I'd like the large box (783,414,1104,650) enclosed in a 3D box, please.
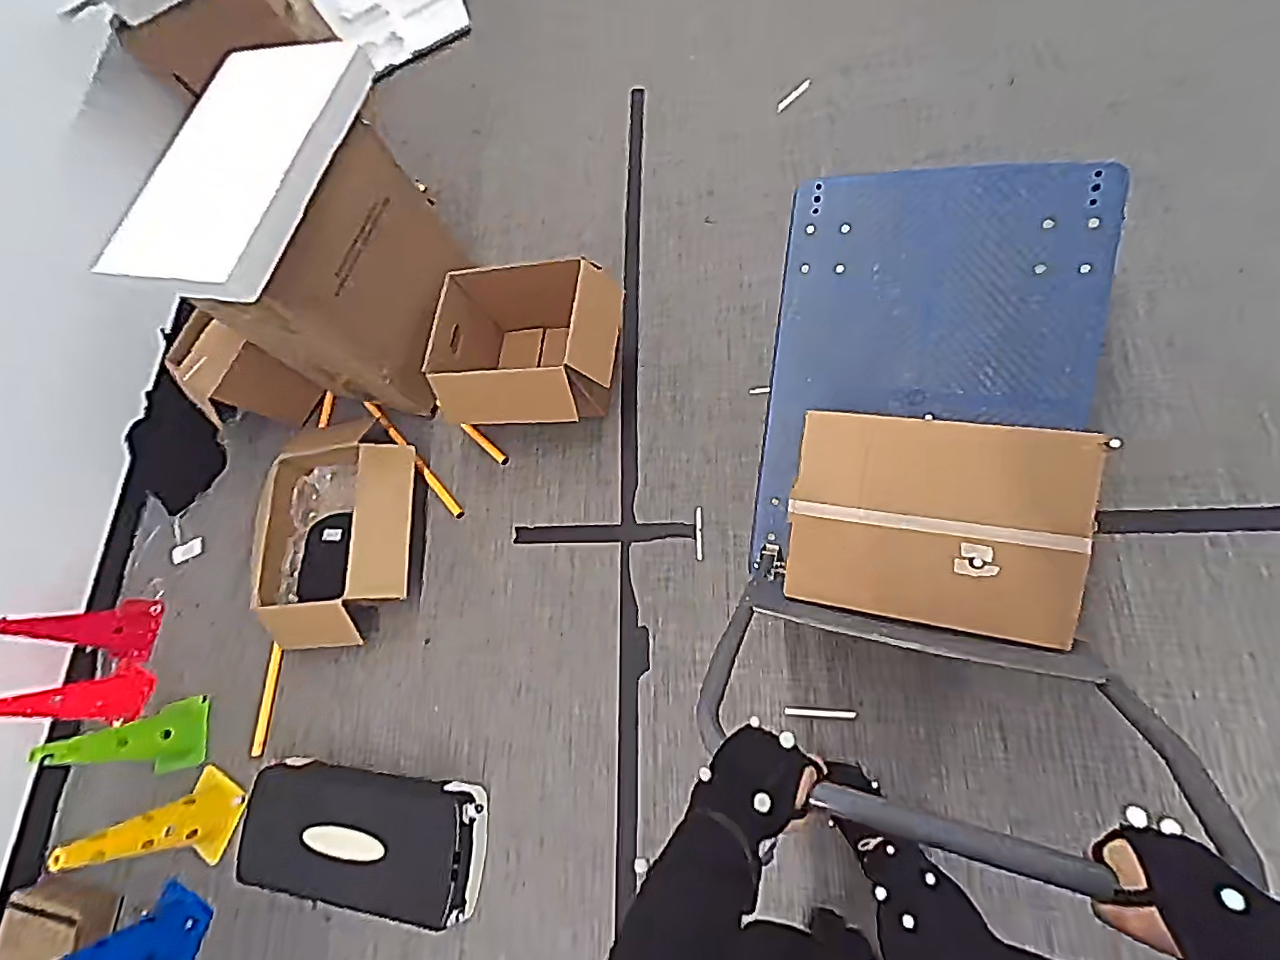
[{"bbox_3d":[0.481,0.062,0.953,0.408,0.320,0.320,8,97,18],"label":"large box"}]
